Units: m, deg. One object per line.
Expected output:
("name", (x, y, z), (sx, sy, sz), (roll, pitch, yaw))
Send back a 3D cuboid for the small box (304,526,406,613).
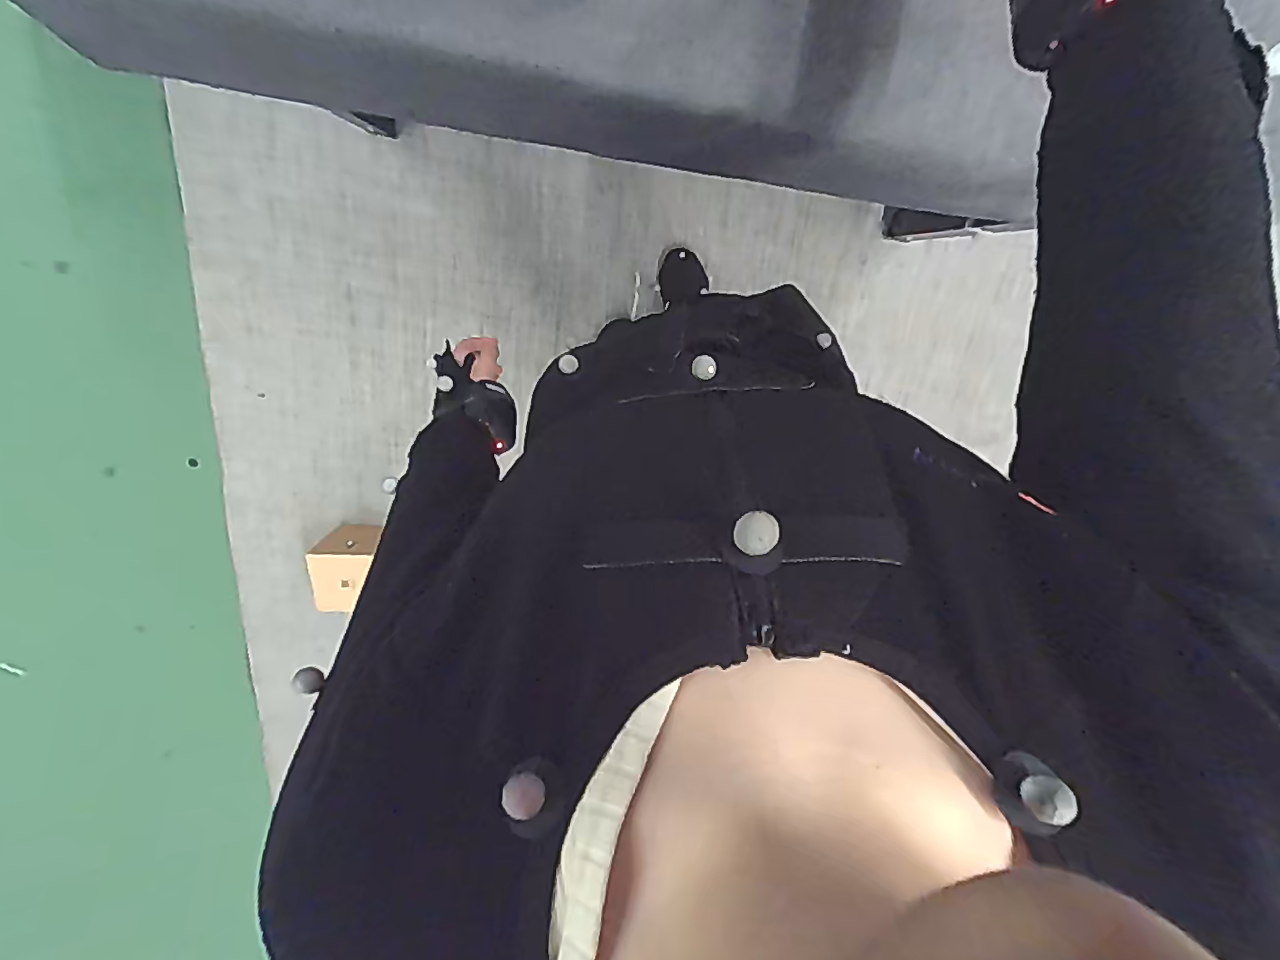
("small box", (-0.723, 0.227, 1.398), (0.179, 0.176, 0.168), (1, 110, -1))
